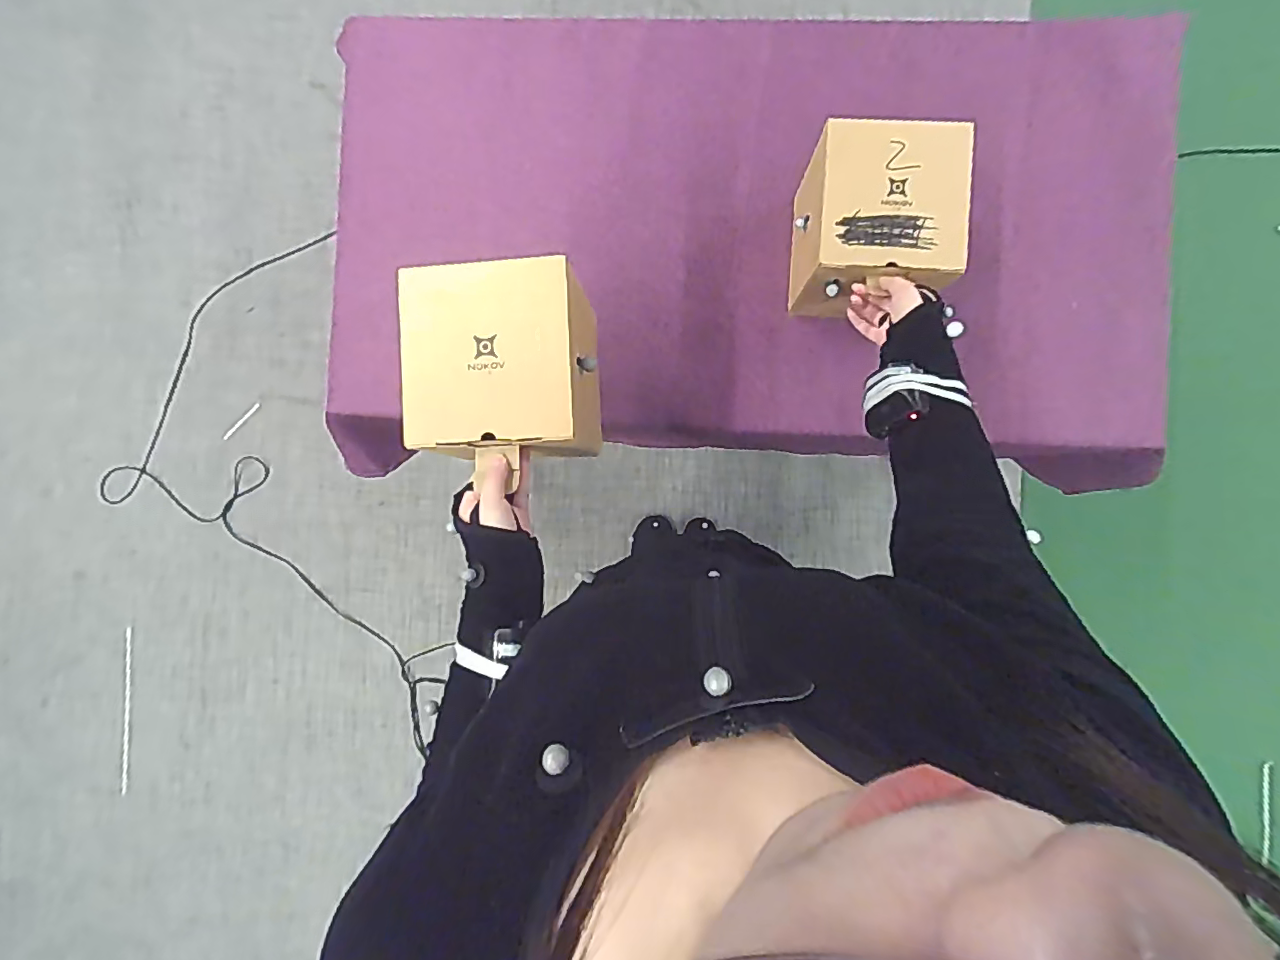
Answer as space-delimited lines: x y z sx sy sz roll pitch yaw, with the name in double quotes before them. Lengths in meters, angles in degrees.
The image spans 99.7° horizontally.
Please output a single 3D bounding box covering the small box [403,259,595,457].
"small box" -0.145 -0.122 0.605 0.168 0.176 0.179 -3 88 4
